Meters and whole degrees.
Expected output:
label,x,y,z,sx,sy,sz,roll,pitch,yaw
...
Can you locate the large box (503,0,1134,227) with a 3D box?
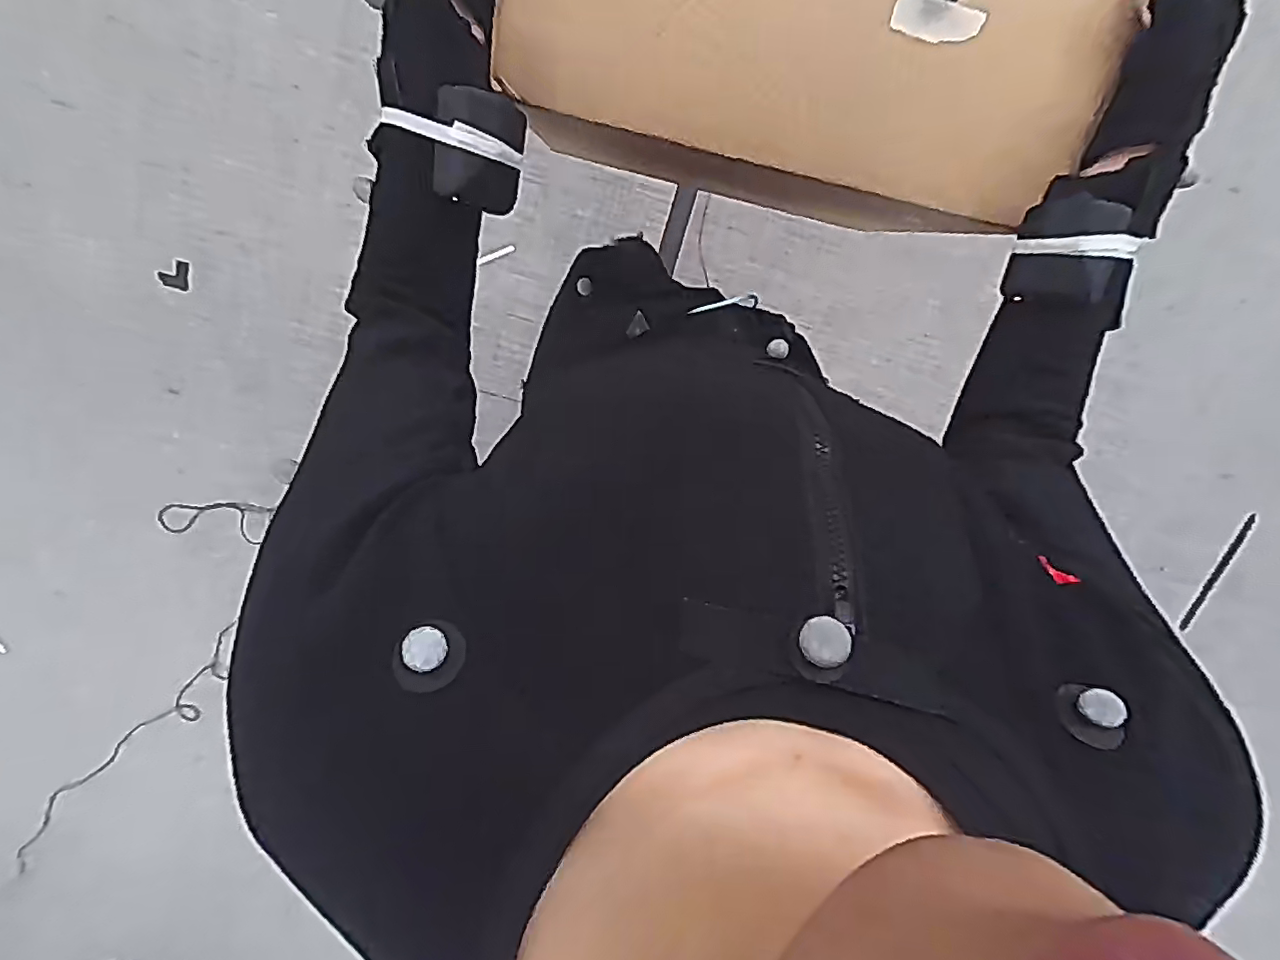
label,x,y,z,sx,sy,sz,roll,pitch,yaw
large box,0.122,-0.421,0.457,0.408,0.320,0.320,10,116,-8
